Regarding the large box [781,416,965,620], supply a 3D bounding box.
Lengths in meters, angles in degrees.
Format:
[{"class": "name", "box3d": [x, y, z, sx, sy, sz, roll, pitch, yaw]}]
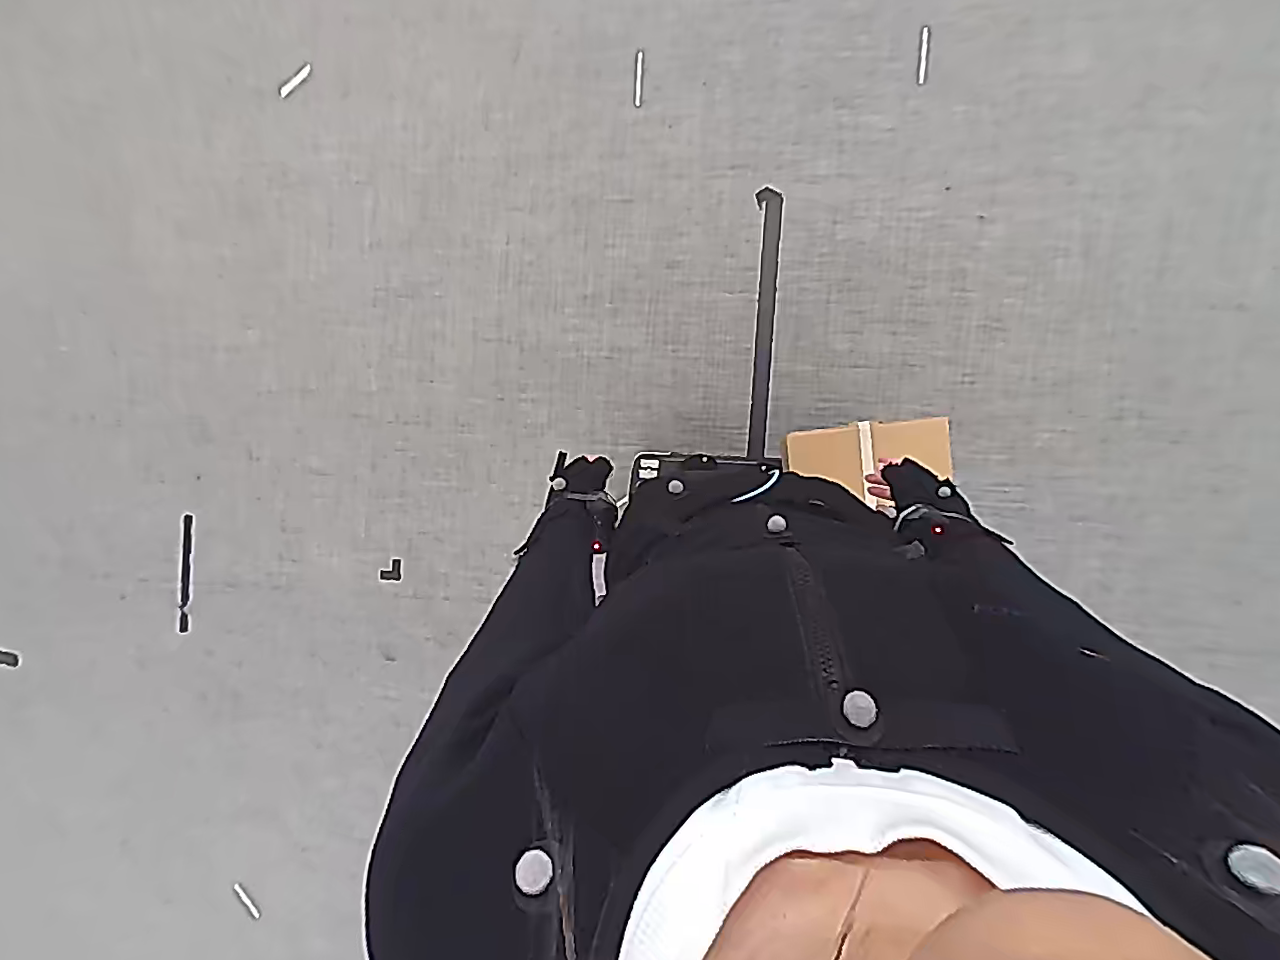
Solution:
[{"class": "large box", "box3d": [0.514, 0.075, 1.257, 0.320, 0.320, 0.408, -6, 92, 13]}]
